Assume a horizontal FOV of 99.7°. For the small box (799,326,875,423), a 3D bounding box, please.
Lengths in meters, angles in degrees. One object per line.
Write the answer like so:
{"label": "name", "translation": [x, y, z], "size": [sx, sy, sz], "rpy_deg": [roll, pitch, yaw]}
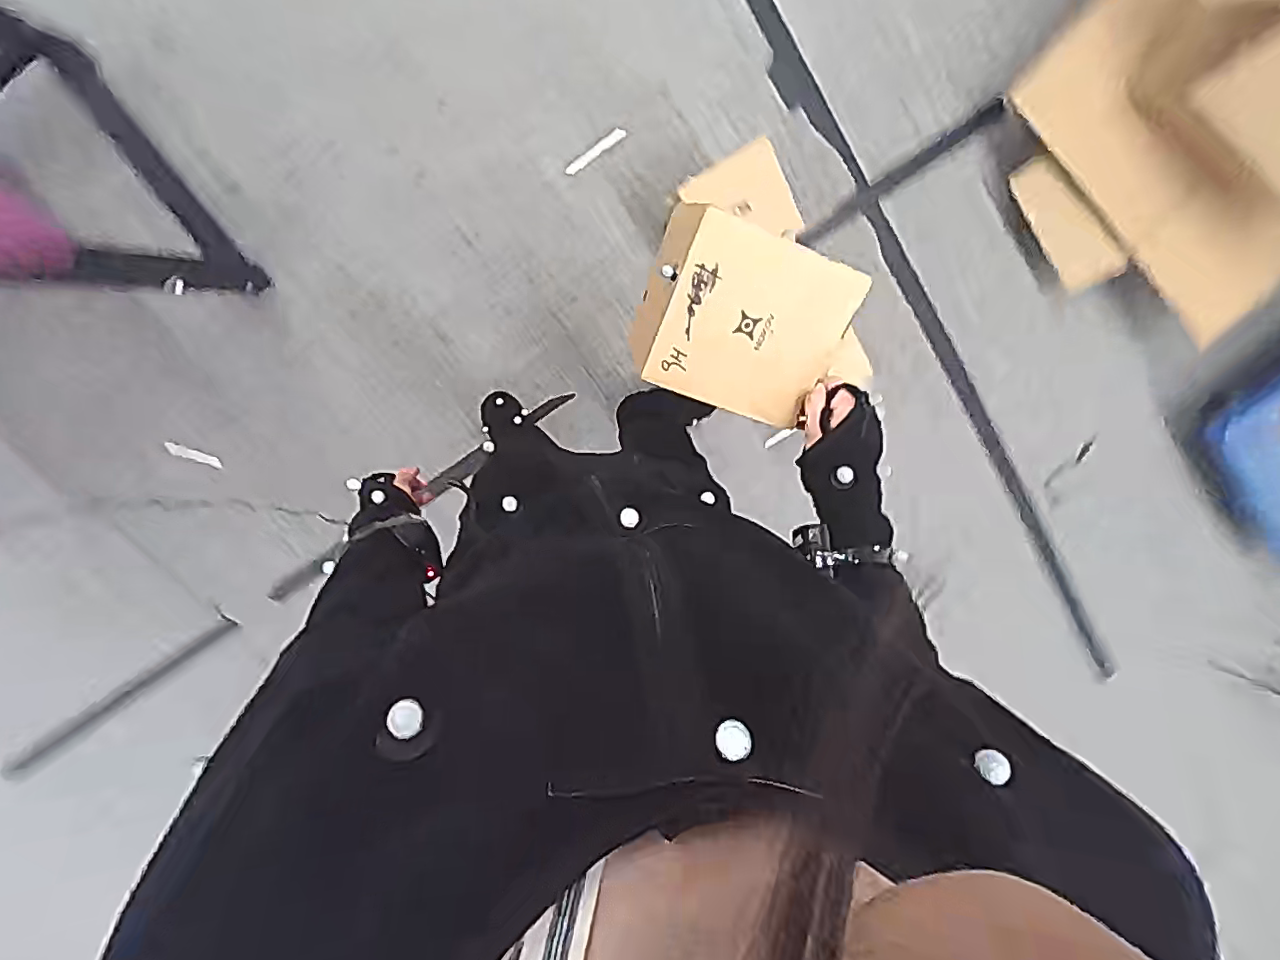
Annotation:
{"label": "small box", "translation": [0.339, -0.244, 1.106], "size": [0.168, 0.176, 0.179], "rpy_deg": [-30, 107, 9]}

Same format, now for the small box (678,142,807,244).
{"label": "small box", "translation": [0.183, -0.494, 1.027], "size": [0.179, 0.176, 0.168], "rpy_deg": [-28, 108, 6]}

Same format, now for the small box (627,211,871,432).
{"label": "small box", "translation": [0.099, -0.177, 0.581], "size": [0.179, 0.176, 0.168], "rpy_deg": [16, 114, -15]}
